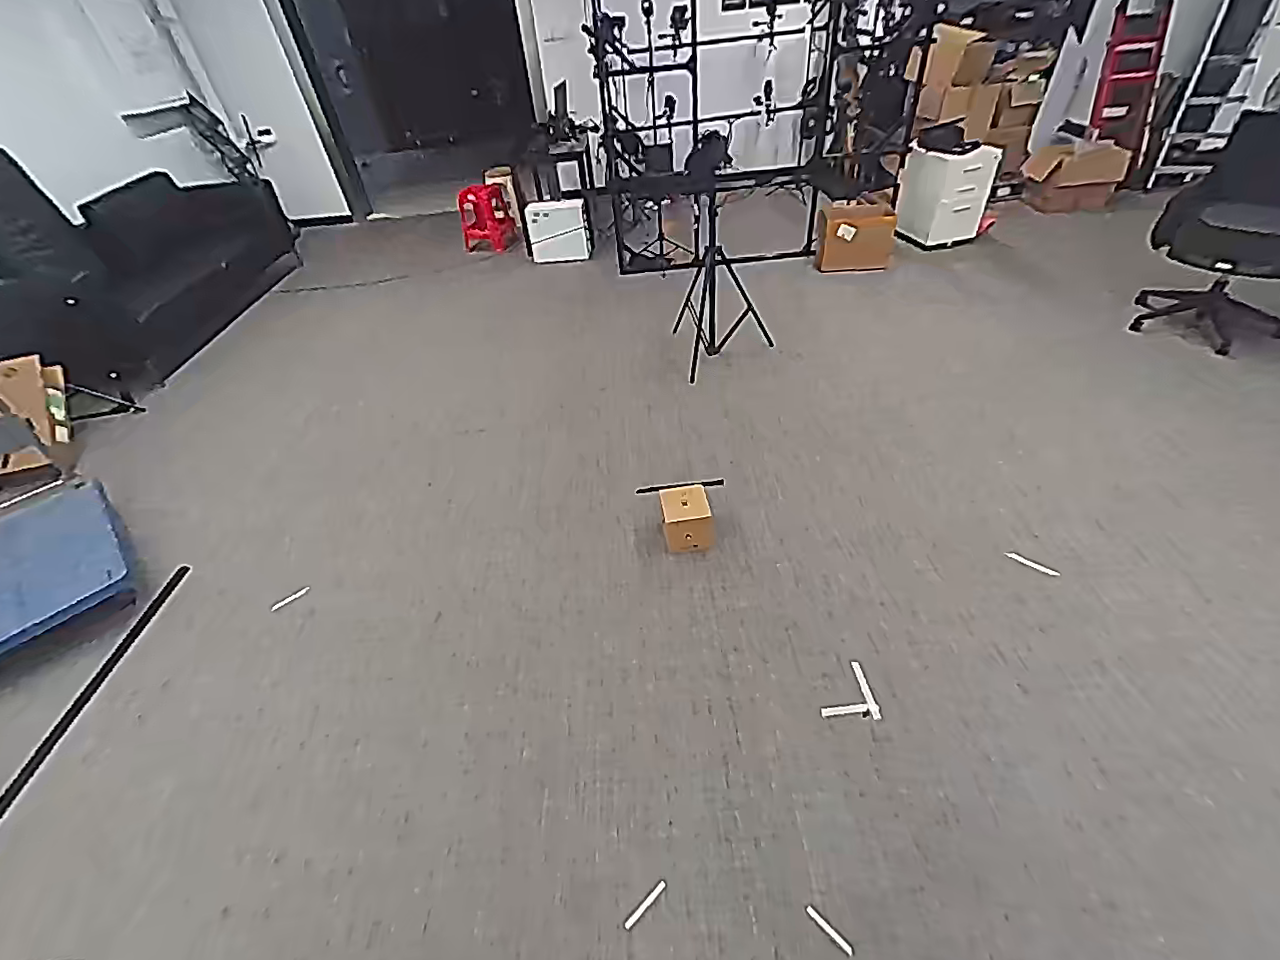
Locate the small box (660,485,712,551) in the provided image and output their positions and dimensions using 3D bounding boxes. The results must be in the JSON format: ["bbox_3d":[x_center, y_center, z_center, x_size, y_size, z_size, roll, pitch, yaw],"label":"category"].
[{"bbox_3d":[0.169,0.146,1.993,0.168,0.176,0.179,-8,40,-2],"label":"small box"}]
